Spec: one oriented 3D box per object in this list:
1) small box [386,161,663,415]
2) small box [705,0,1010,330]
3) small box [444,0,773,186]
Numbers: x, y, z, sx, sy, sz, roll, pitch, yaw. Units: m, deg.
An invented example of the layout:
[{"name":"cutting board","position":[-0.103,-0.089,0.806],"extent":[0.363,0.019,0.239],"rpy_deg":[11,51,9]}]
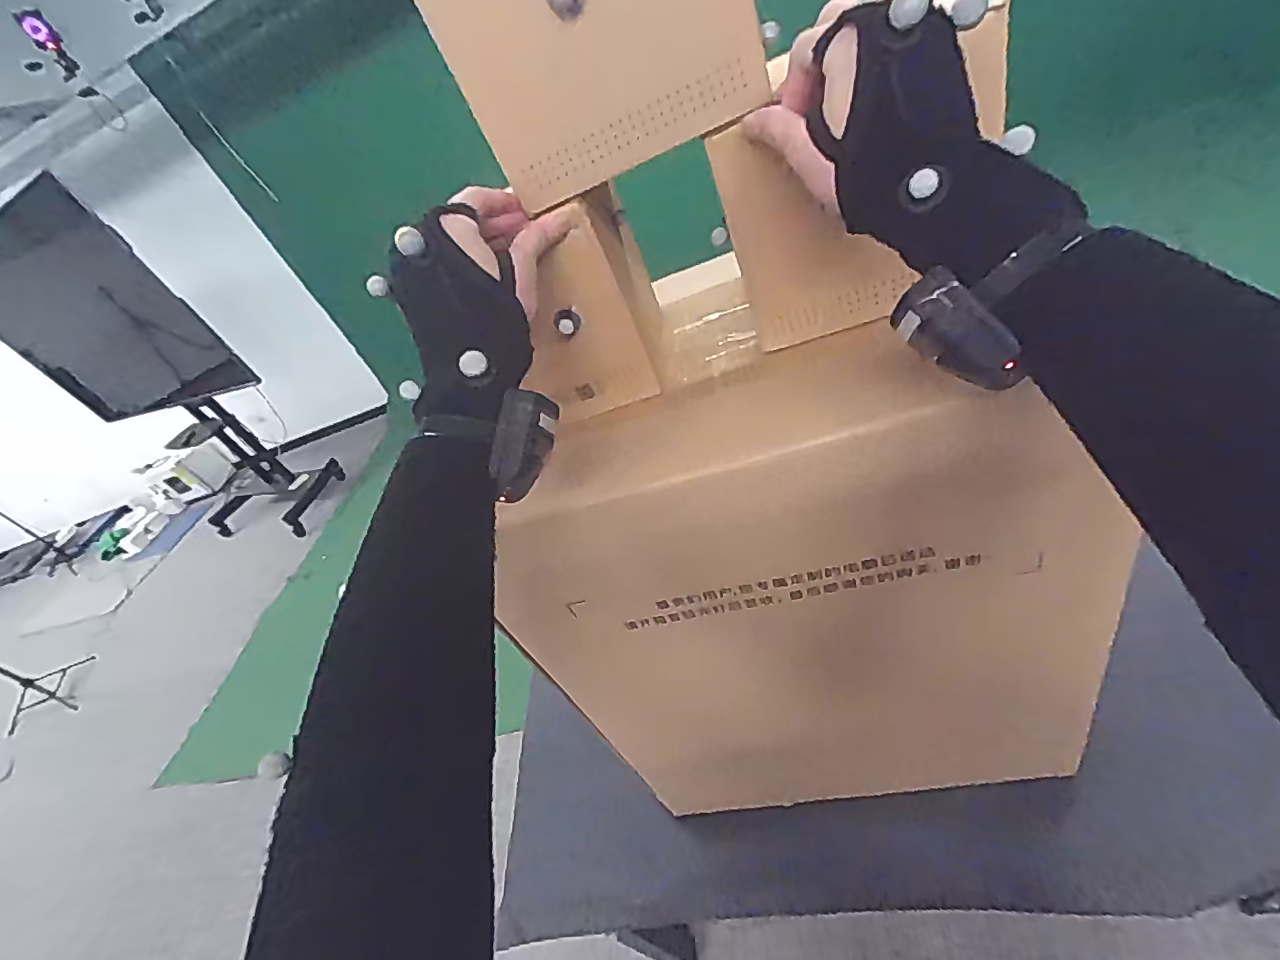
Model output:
[{"name":"small box","position":[-0.080,-0.175,0.483],"extent":[0.168,0.176,0.179],"rpy_deg":[-14,38,13]},{"name":"small box","position":[0.160,-0.243,0.422],"extent":[0.179,0.176,0.168],"rpy_deg":[-15,39,16]},{"name":"small box","position":[-0.020,-0.326,0.355],"extent":[0.179,0.176,0.168],"rpy_deg":[-17,38,14]}]
